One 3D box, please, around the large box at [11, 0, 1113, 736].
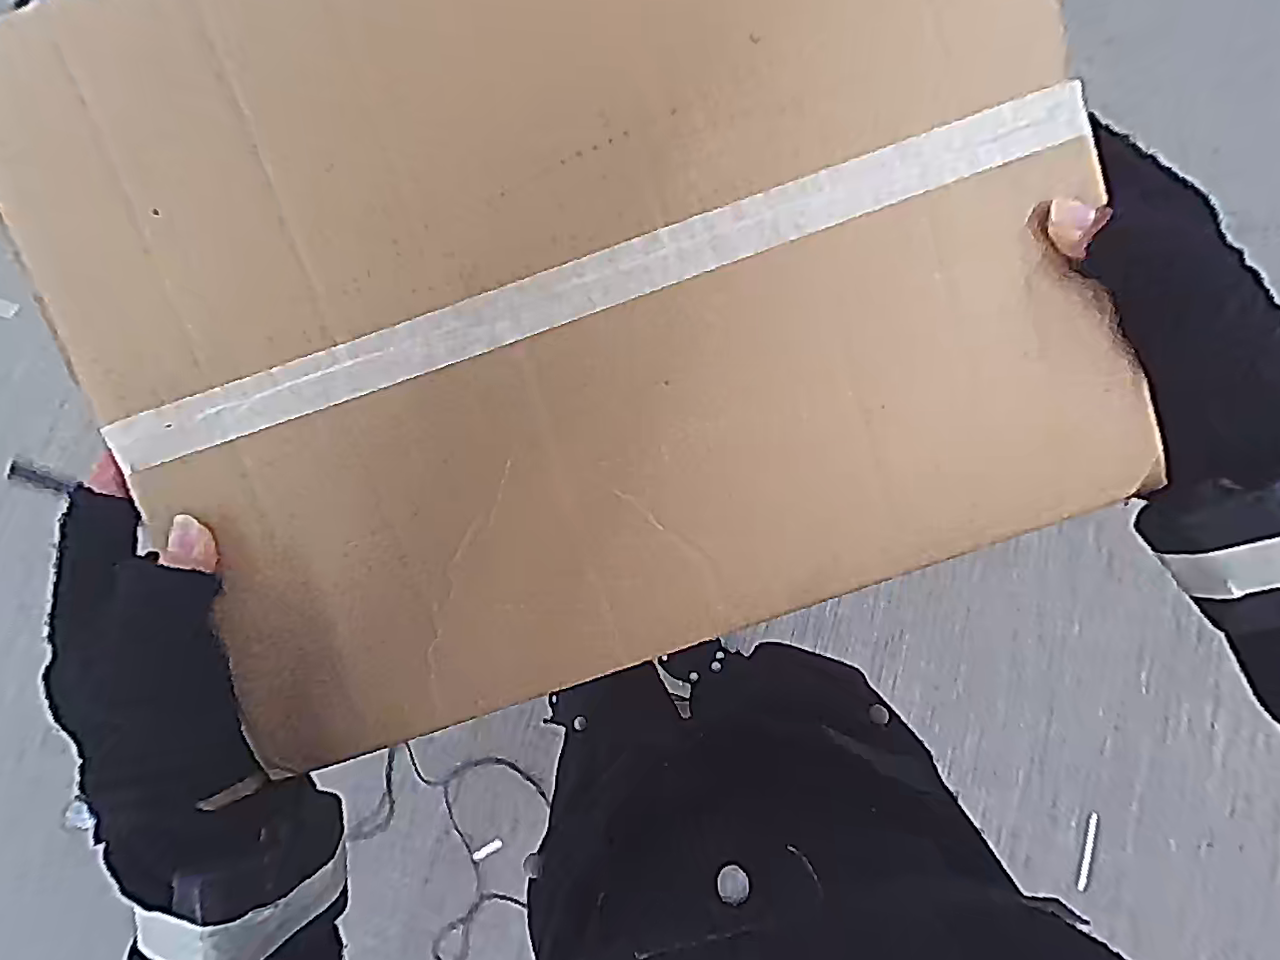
[{"bbox_3d":[-0.019,-0.104,0.376,0.408,0.320,0.320,-17,97,1],"label":"large box"}]
